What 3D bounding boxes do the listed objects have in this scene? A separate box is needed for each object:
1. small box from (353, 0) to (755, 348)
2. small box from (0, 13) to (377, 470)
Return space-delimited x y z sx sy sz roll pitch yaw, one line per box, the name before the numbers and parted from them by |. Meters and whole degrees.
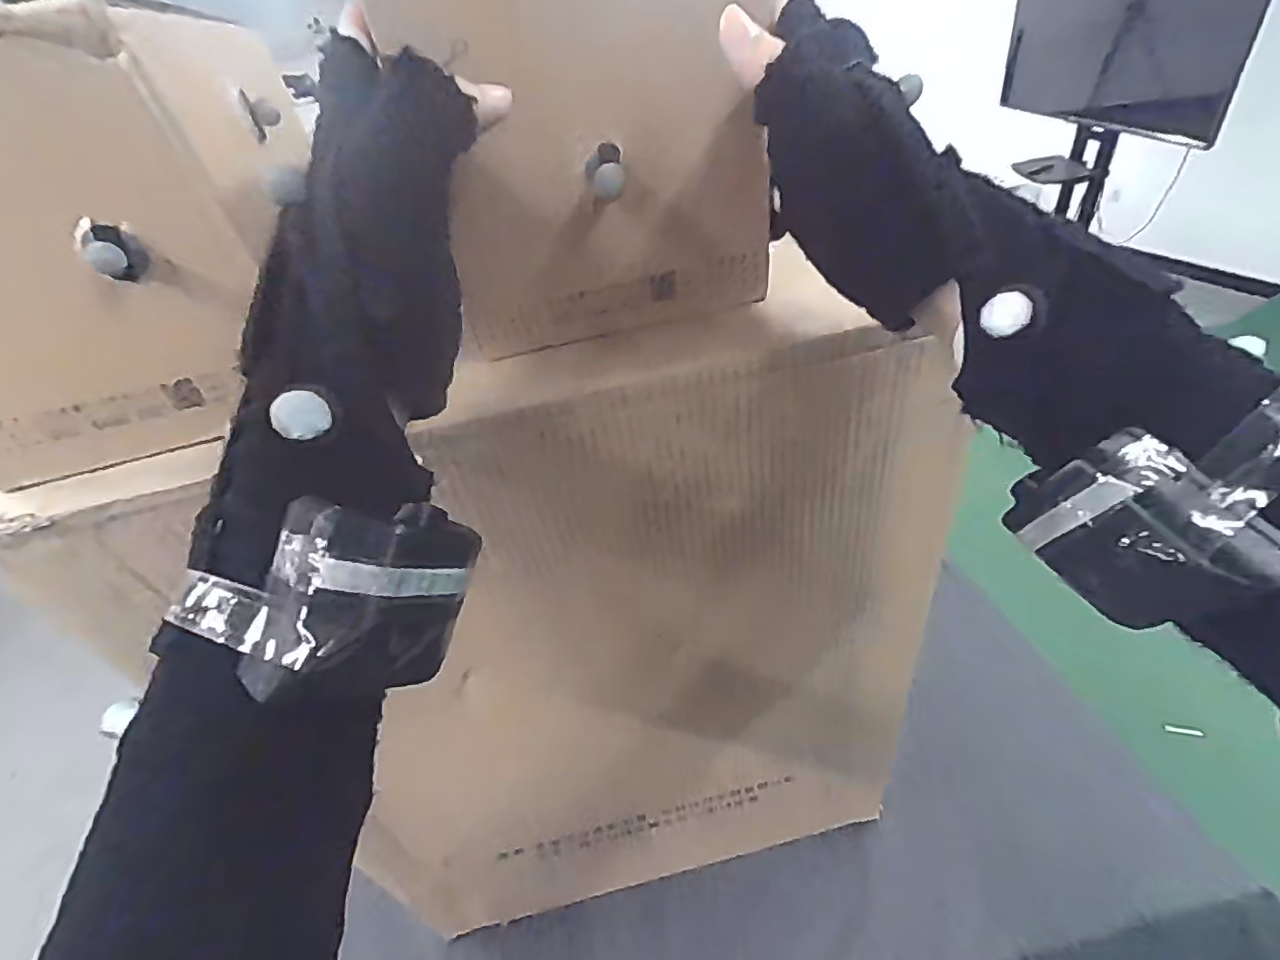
small box | -0.035 -0.191 0.321 0.168 0.176 0.179 -13 39 -4
small box | -0.265 -0.121 0.292 0.168 0.176 0.179 -15 38 -7
